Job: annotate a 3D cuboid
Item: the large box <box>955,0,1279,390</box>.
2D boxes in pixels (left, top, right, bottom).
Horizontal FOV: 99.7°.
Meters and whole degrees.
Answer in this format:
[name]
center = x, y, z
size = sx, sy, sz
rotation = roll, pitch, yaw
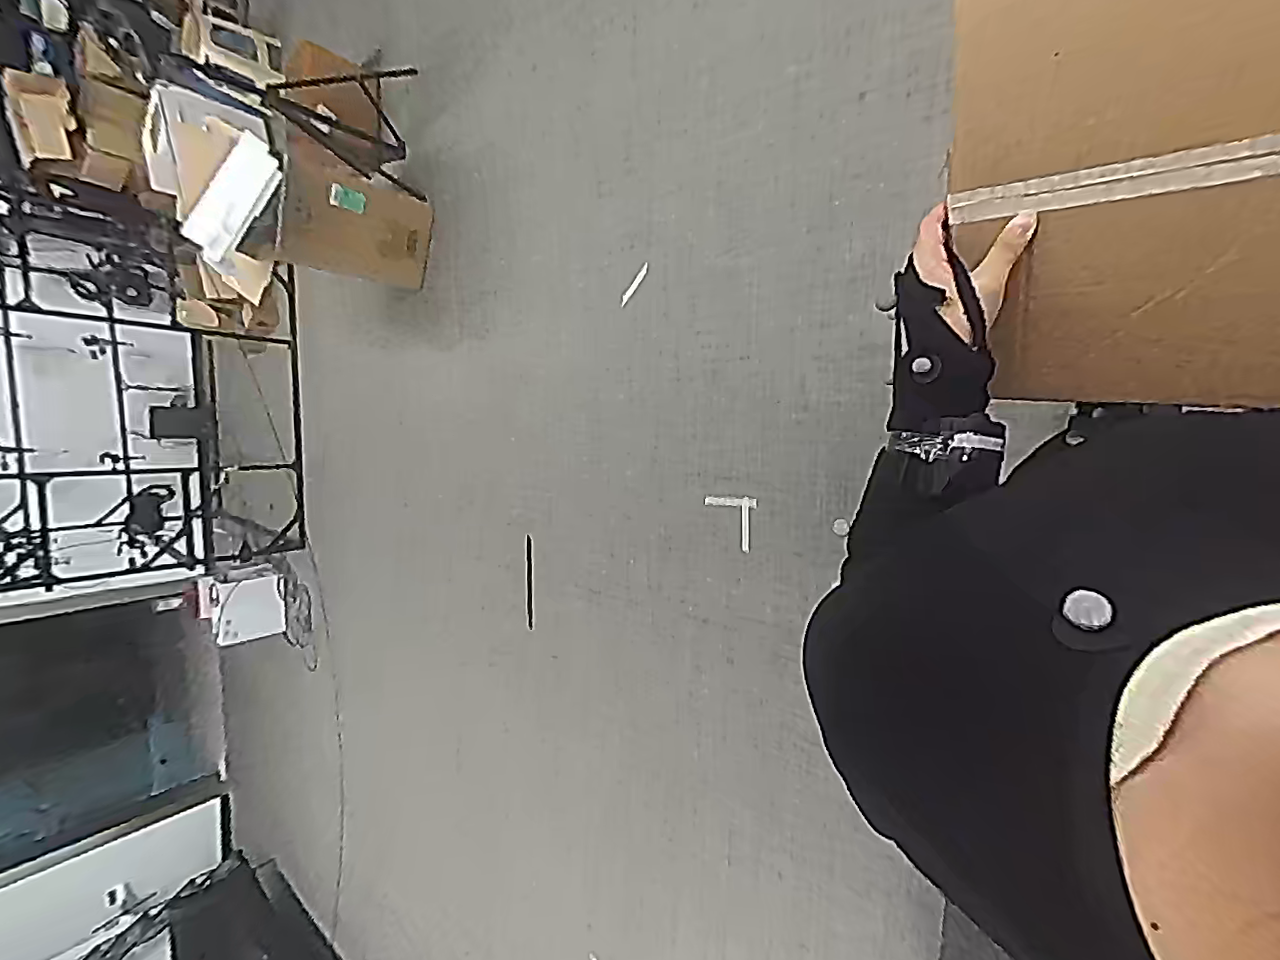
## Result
[large box]
center = 0.477, -0.266, 0.366
size = 0.408, 0.320, 0.320
rotation = 9, 130, 41
